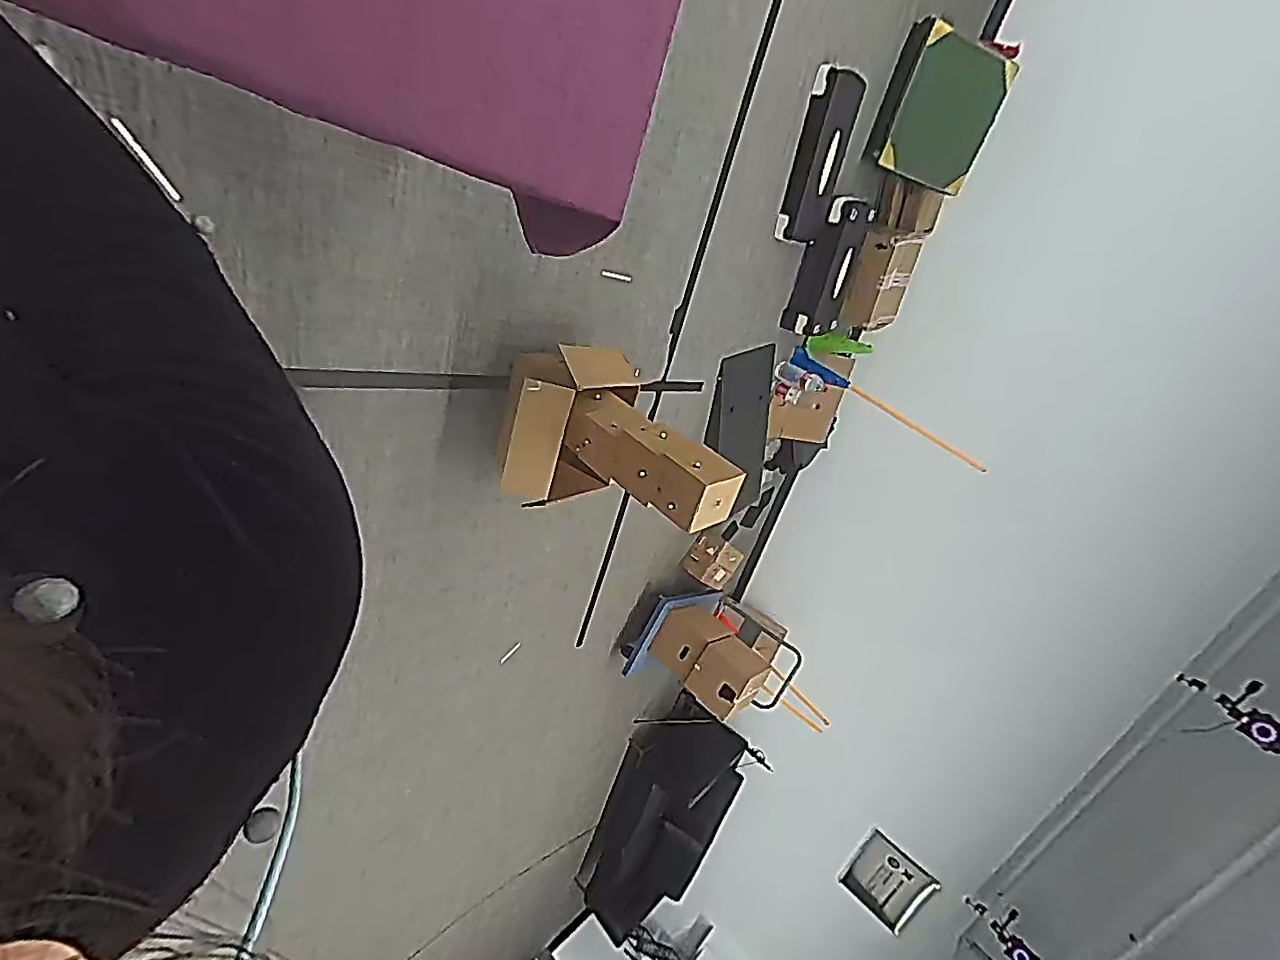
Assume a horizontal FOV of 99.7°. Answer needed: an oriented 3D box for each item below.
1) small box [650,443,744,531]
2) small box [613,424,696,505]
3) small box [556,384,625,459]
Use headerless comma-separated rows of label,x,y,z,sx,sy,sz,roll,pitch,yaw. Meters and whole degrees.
small box,0.154,0.014,1.511,0.179,0.176,0.168,-16,134,-42
small box,0.042,-0.056,1.608,0.168,0.176,0.179,-16,133,-41
small box,-0.168,-0.205,1.815,0.168,0.176,0.179,-29,142,-32
